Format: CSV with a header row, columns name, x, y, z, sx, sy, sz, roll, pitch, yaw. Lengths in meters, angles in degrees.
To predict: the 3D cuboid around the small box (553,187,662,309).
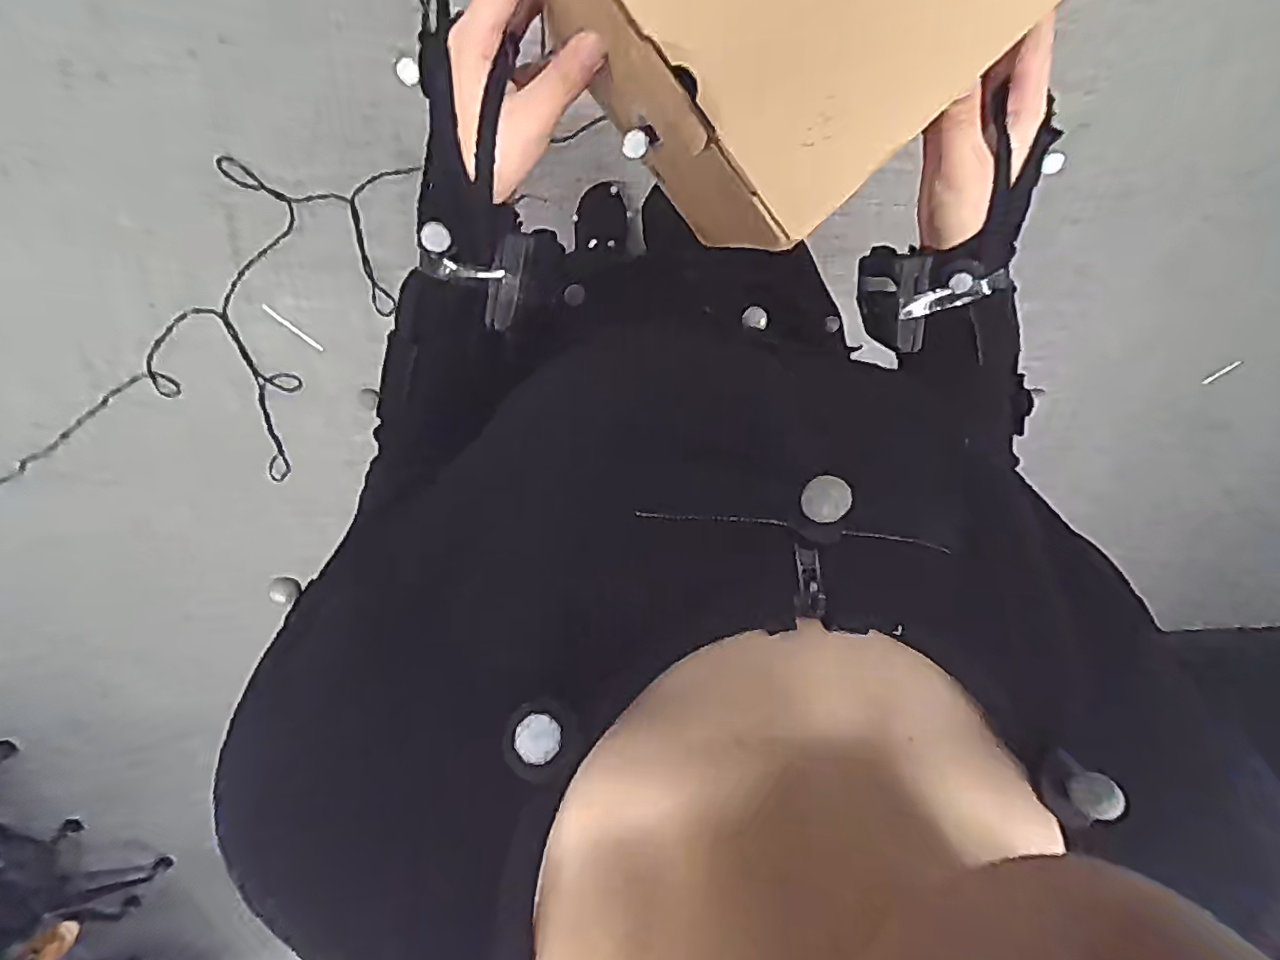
name,x,y,z,sx,sy,sz,roll,pitch,yaw
small box,-0.070,-0.486,1.145,0.179,0.176,0.168,40,104,-15
